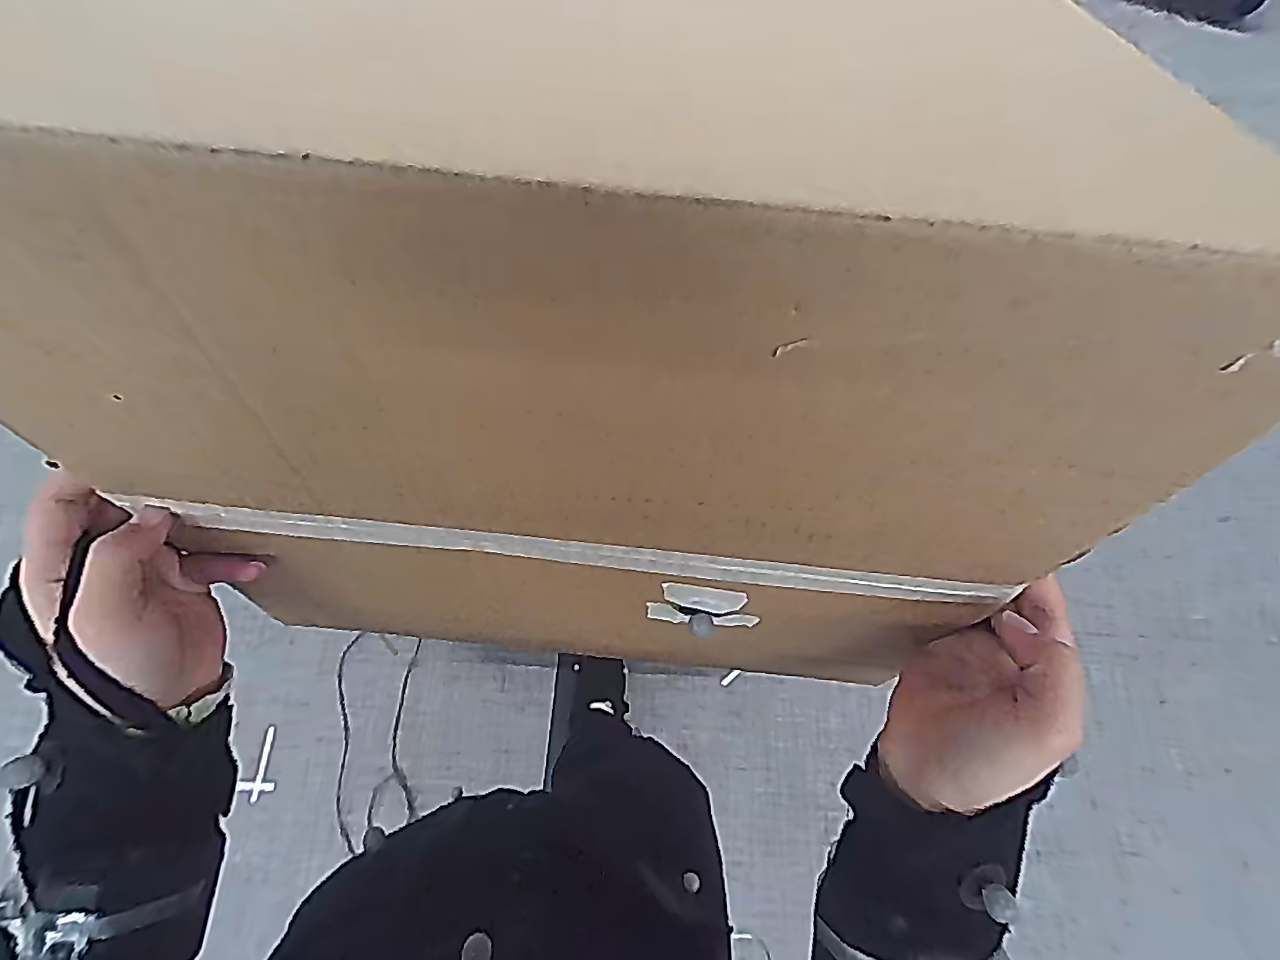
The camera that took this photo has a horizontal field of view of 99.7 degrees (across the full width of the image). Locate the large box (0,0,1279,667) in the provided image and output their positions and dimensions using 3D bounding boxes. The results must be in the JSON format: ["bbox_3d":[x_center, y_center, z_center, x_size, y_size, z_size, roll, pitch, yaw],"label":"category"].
[{"bbox_3d":[-0.019,-0.098,0.337,0.408,0.320,0.320,5,56,0],"label":"large box"}]
